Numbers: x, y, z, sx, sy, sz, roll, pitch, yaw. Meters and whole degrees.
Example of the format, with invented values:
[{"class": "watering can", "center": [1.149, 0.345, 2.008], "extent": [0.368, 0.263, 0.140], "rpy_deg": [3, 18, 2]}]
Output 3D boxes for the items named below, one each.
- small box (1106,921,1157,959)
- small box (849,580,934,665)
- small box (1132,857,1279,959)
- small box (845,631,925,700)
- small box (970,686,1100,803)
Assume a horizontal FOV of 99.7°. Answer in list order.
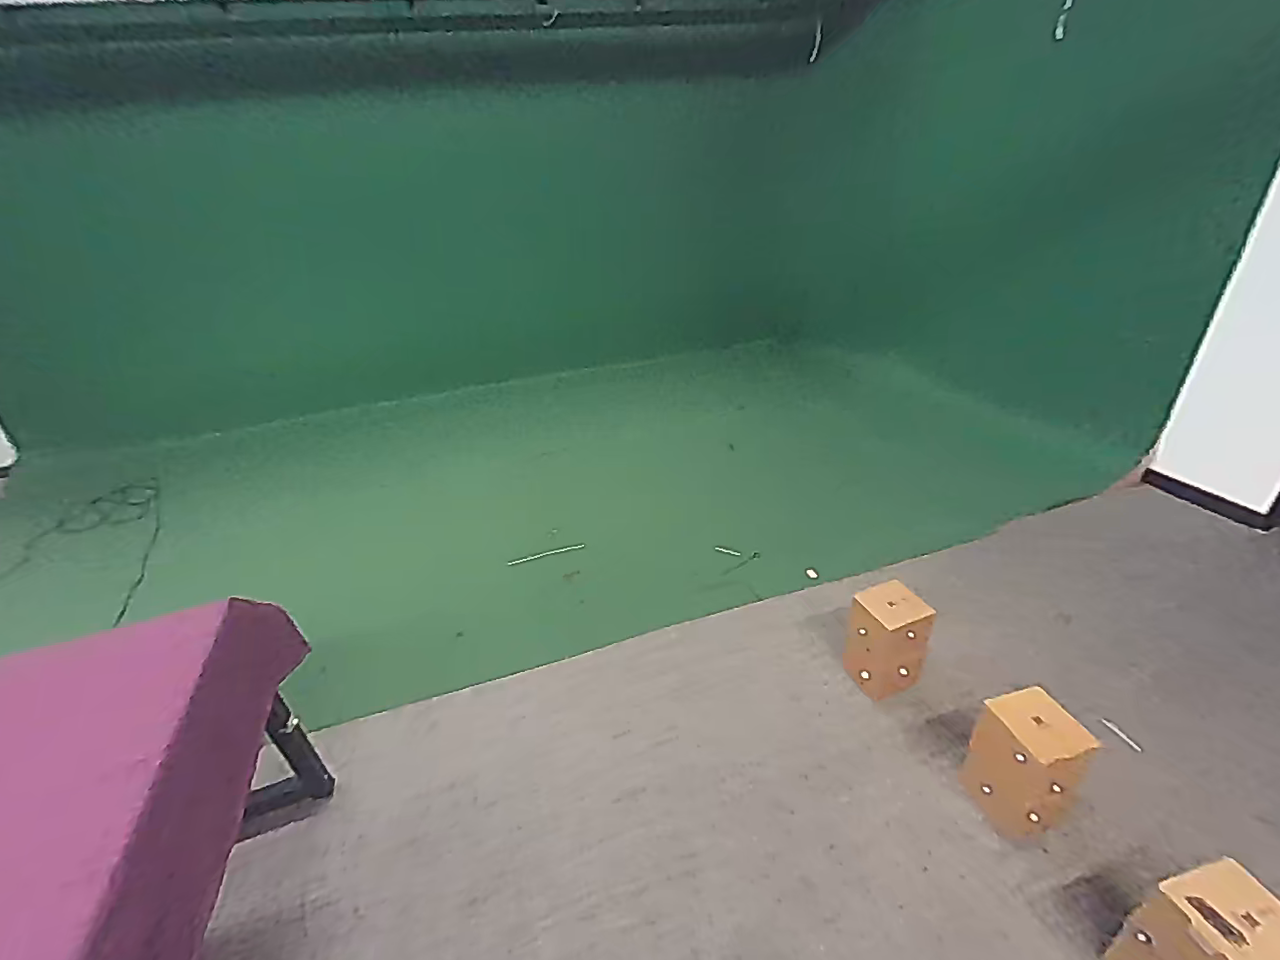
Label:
[{"class": "small box", "center": [1.072, 0.978, 1.063], "extent": [0.179, 0.176, 0.168], "rpy_deg": [-12, 31, -10]}, {"class": "small box", "center": [0.778, 0.447, 1.692], "extent": [0.179, 0.176, 0.168], "rpy_deg": [-14, 33, -15]}, {"class": "small box", "center": [1.053, 0.835, 0.981], "extent": [0.179, 0.176, 0.168], "rpy_deg": [-9, 31, -9]}, {"class": "small box", "center": [0.794, 0.589, 1.775], "extent": [0.179, 0.176, 0.168], "rpy_deg": [-13, 32, -14]}, {"class": "small box", "center": [0.953, 0.646, 1.324], "extent": [0.168, 0.176, 0.179], "rpy_deg": [-10, 31, -9]}]
